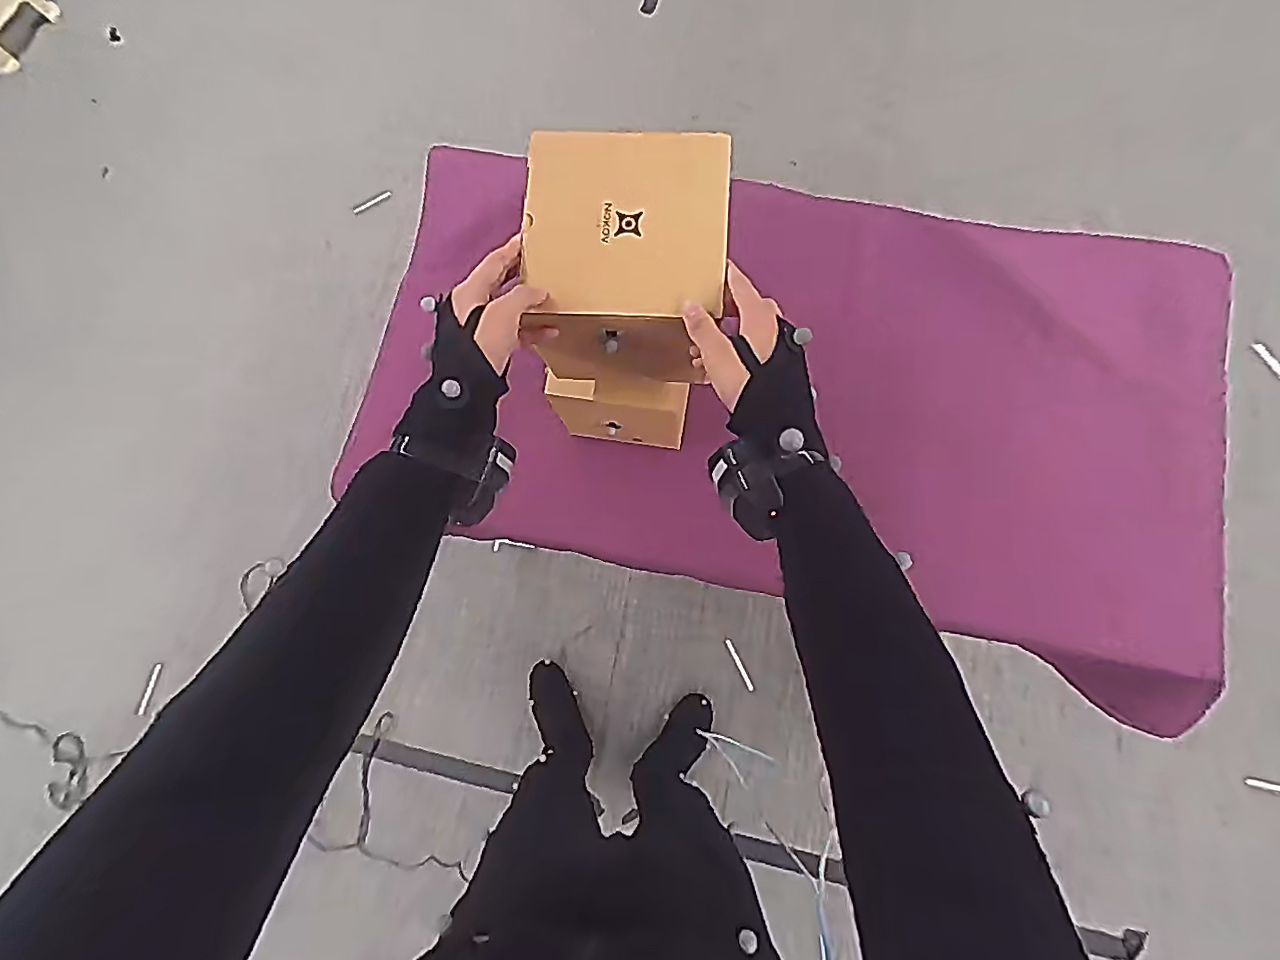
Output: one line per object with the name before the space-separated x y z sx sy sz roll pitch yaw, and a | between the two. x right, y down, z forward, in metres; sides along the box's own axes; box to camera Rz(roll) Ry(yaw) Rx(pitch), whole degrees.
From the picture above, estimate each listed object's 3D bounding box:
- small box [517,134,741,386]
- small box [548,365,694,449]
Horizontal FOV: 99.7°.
small box | -0.003 -0.196 0.522 0.179 0.176 0.168 3 82 6
small box | -0.009 -0.151 0.728 0.168 0.176 0.179 9 78 6
